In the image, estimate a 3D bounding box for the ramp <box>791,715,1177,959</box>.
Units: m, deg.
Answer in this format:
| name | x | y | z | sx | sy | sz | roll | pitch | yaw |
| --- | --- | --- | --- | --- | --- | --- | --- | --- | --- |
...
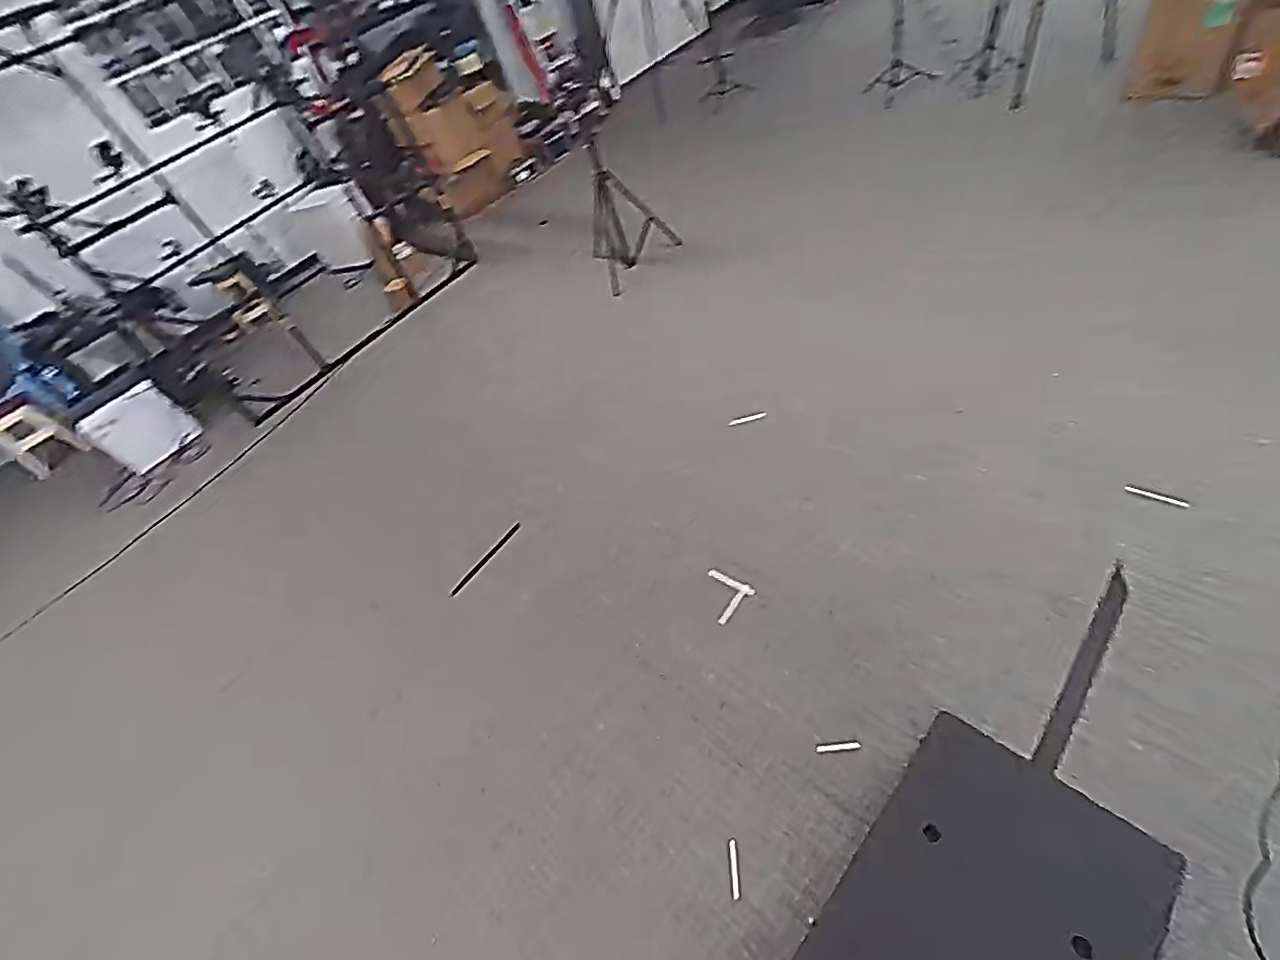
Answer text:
| name | x | y | z | sx | sy | sz | roll | pitch | yaw |
| --- | --- | --- | --- | --- | --- | --- | --- | --- | --- |
| ramp | 0.601 | 0.968 | 1.038 | 0.509 | 0.206 | 0.991 | 25 | 63 | 38 |
